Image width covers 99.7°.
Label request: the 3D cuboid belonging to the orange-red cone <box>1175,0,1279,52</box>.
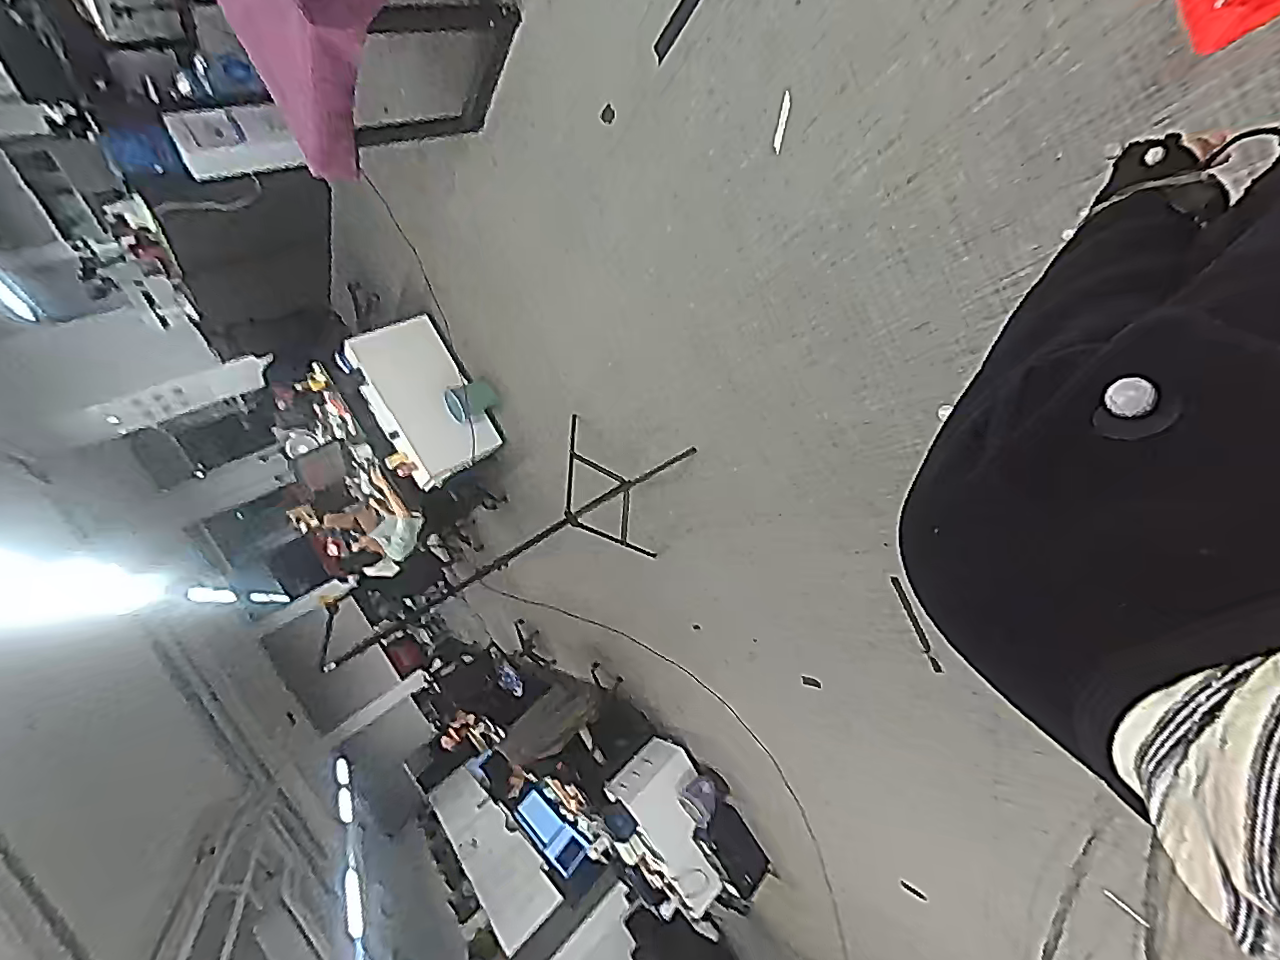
[{"bbox_3d":[0.782,-0.700,0.690,0.198,0.360,0.199,-14,105,57],"label":"orange-red cone"}]
